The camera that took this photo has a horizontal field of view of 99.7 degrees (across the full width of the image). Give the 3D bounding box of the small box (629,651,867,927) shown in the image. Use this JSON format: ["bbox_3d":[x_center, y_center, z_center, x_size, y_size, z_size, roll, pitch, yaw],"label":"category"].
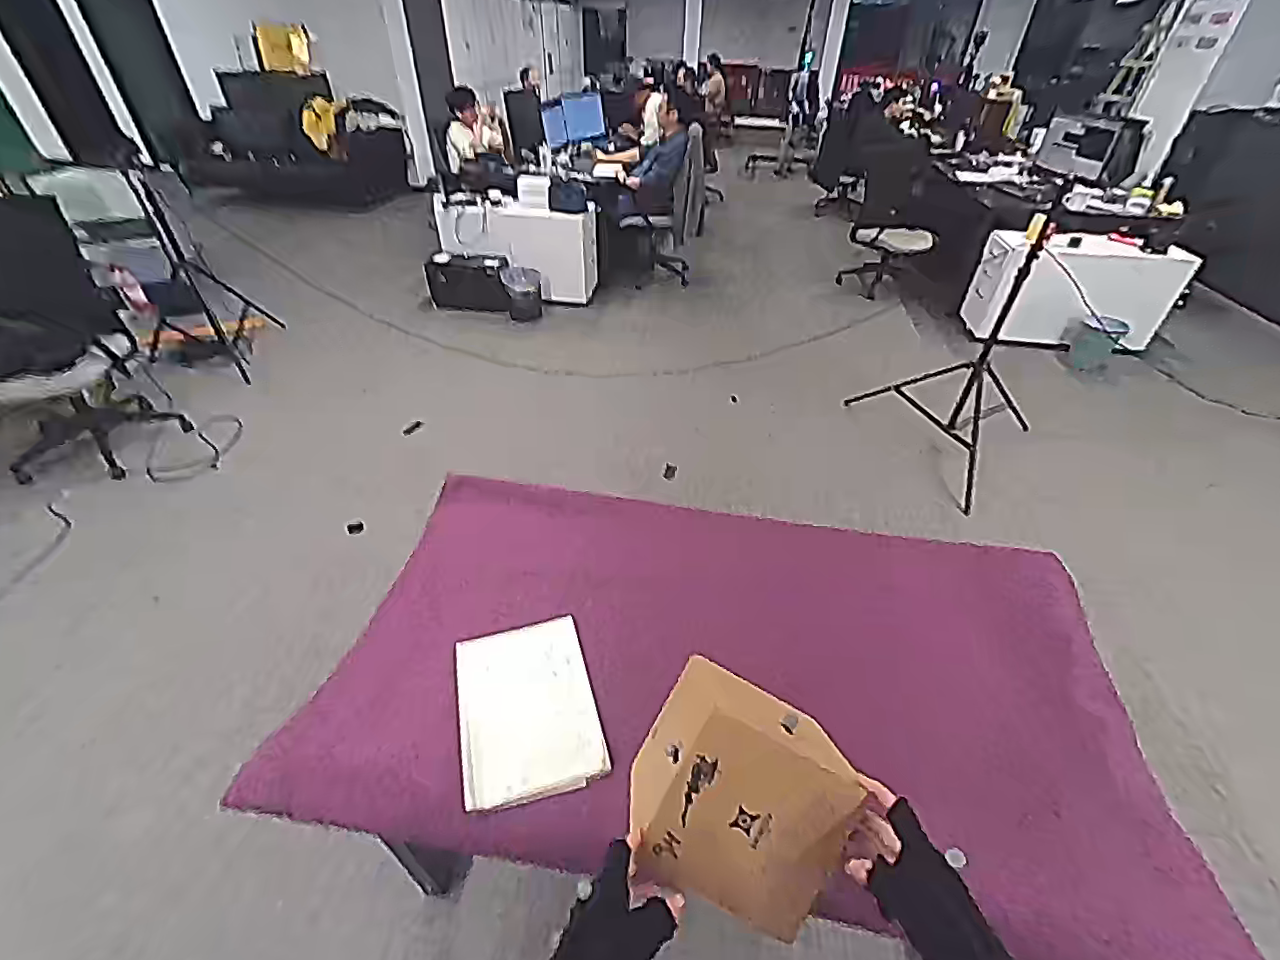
[{"bbox_3d":[0.102,0.312,0.589,0.179,0.168,0.176,29,-2,0],"label":"small box"}]
